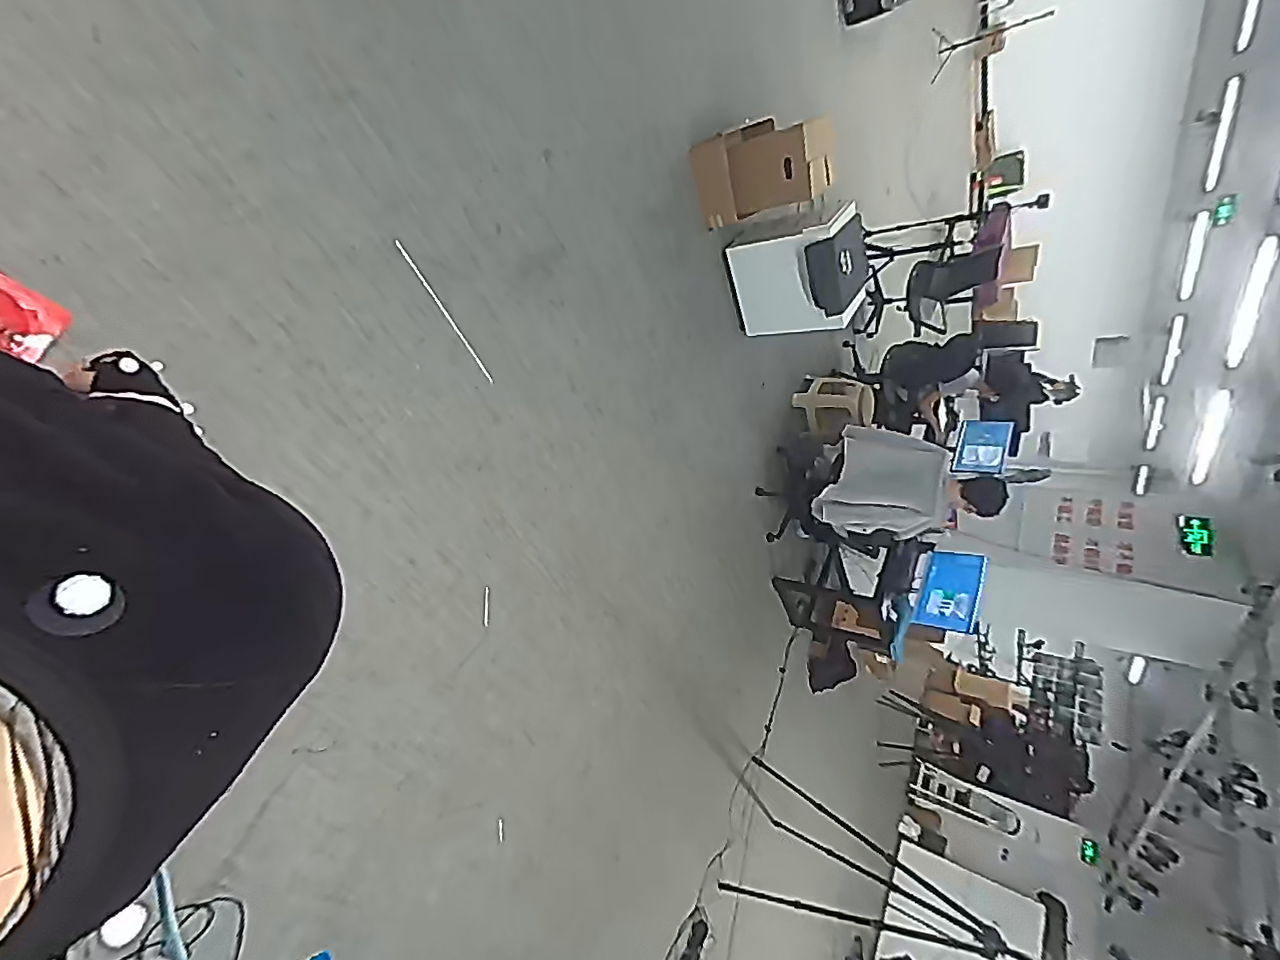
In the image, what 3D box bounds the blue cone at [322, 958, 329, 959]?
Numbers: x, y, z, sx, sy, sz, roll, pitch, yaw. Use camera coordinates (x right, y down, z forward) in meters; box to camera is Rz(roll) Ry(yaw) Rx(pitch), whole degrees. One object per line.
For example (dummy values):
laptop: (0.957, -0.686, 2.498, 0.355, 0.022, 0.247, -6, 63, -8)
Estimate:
blue cone: (-0.810, 1.457, 1.382, 0.193, 0.380, 0.192, -2, 95, -54)
